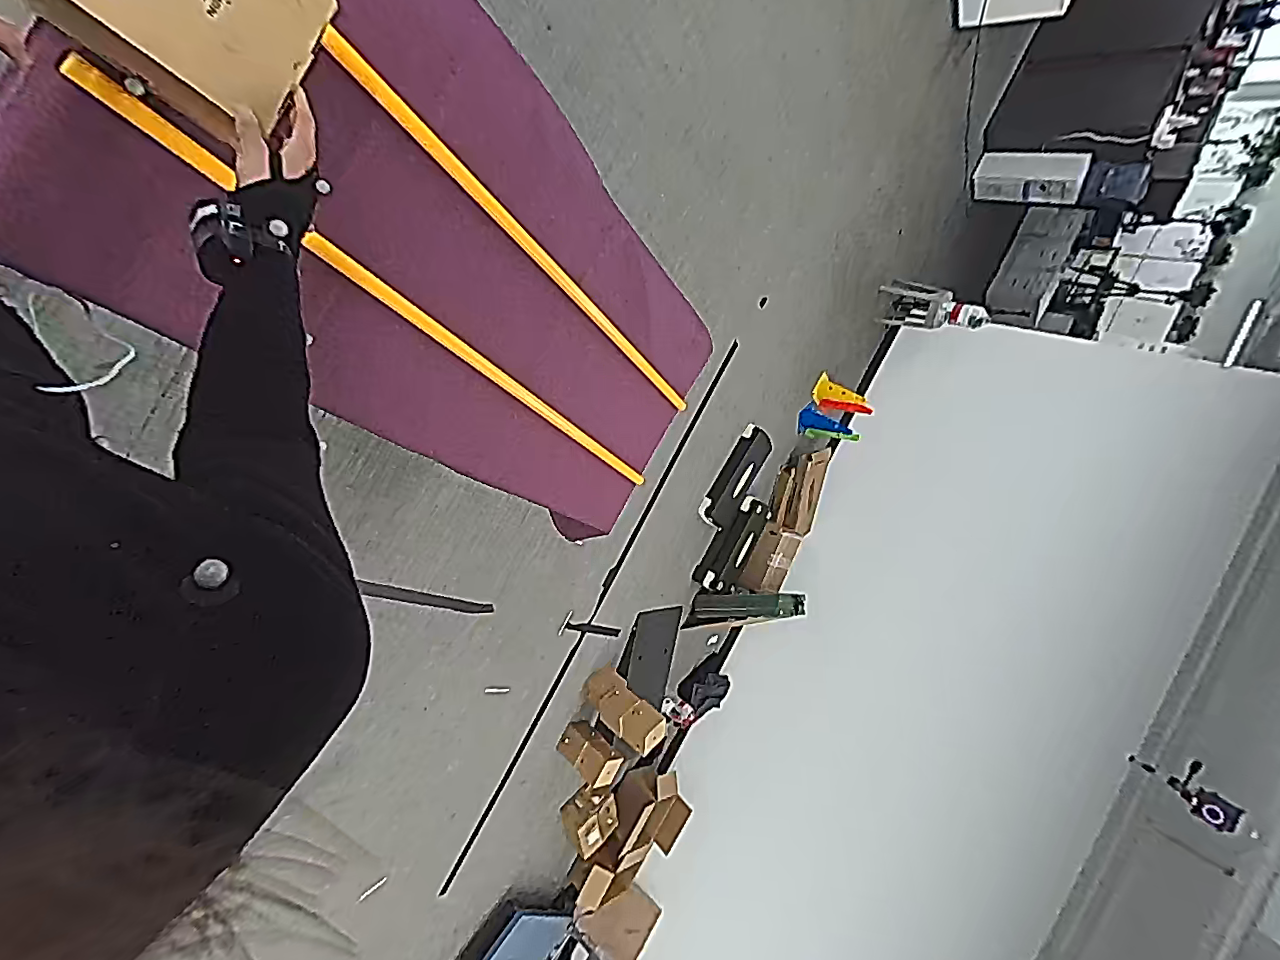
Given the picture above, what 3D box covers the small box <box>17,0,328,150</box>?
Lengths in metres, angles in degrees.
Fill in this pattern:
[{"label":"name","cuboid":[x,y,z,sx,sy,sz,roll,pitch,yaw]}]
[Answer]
[{"label":"small box","cuboid":[-0.468,-0.474,0.548,0.179,0.176,0.168,28,89,-55]}]
